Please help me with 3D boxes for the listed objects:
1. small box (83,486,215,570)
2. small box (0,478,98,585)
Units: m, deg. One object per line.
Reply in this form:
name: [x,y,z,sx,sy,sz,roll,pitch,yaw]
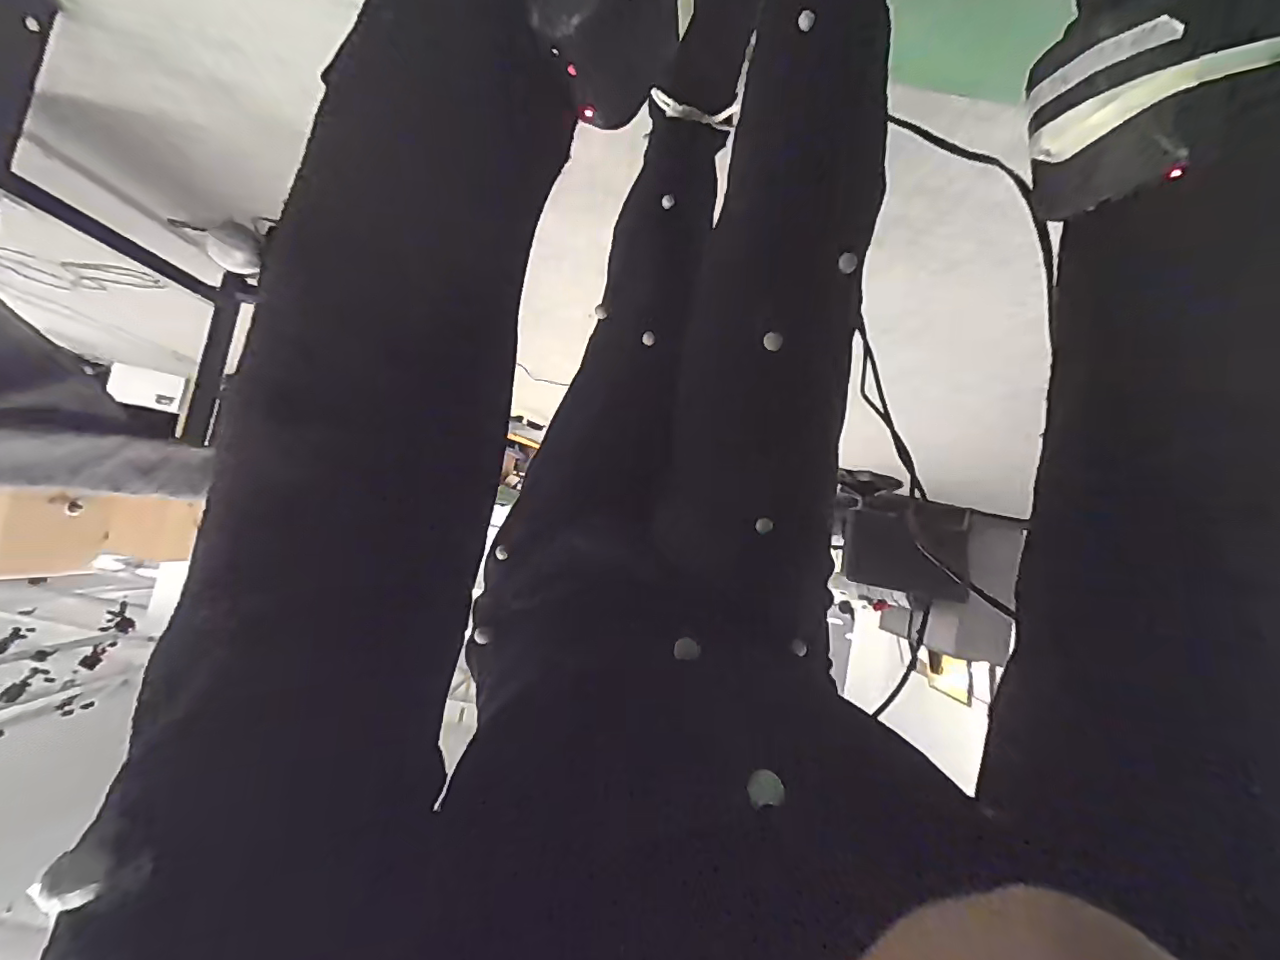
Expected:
small box: [-1.170,0.112,1.299,0.179,0.176,0.168,11,175,5]
small box: [-1.146,0.088,0.975,0.179,0.176,0.168,9,176,6]
